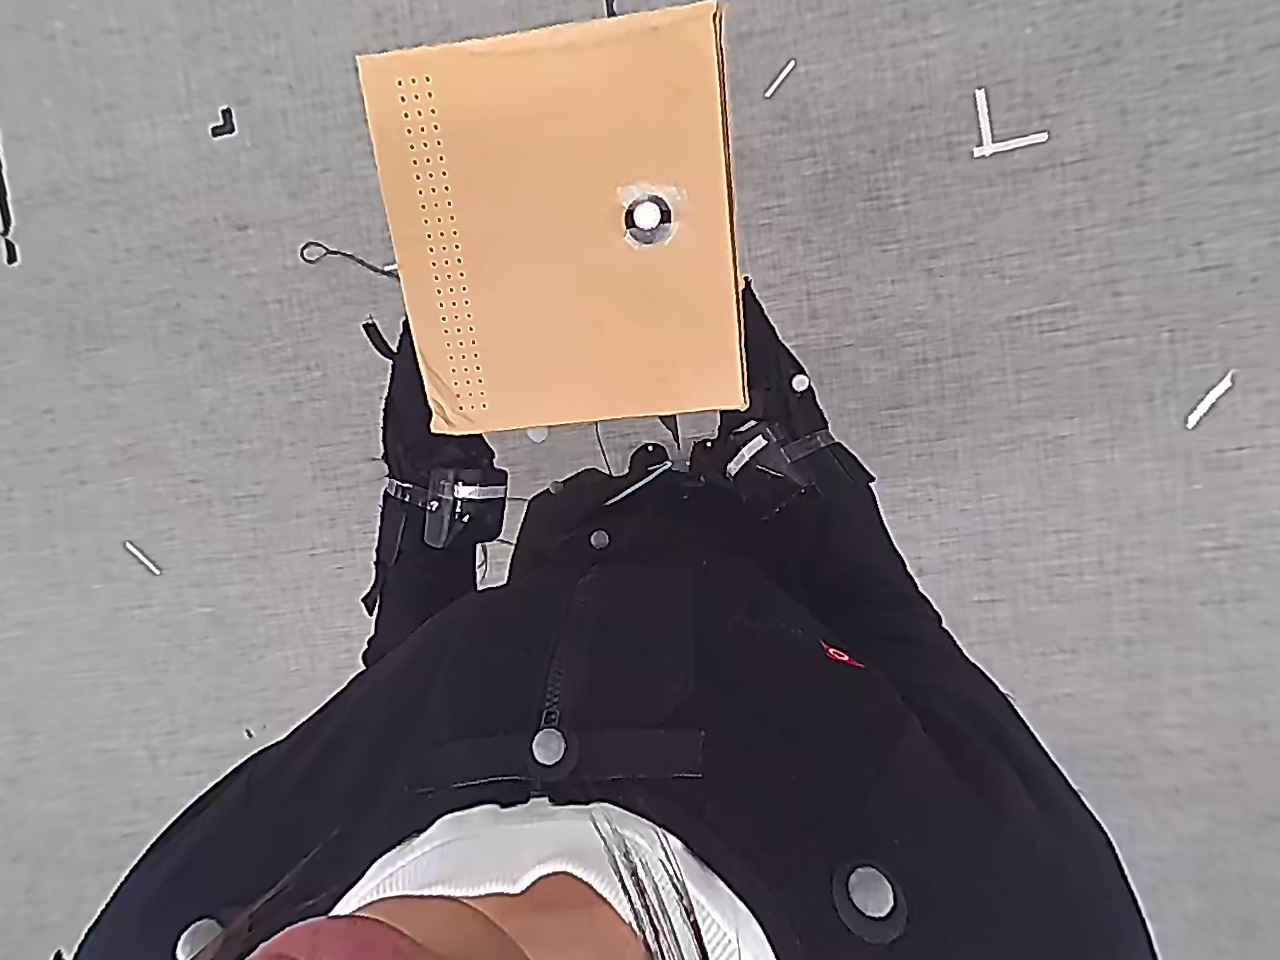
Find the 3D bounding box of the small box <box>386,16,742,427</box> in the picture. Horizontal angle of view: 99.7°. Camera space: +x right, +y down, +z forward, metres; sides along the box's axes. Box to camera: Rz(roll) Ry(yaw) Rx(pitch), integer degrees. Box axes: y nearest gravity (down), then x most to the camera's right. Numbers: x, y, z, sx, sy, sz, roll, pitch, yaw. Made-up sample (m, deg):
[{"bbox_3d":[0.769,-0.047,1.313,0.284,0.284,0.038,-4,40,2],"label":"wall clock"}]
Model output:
[{"bbox_3d":[-0.035,-0.137,0.346,0.176,0.168,0.179,-5,104,6],"label":"small box"}]
